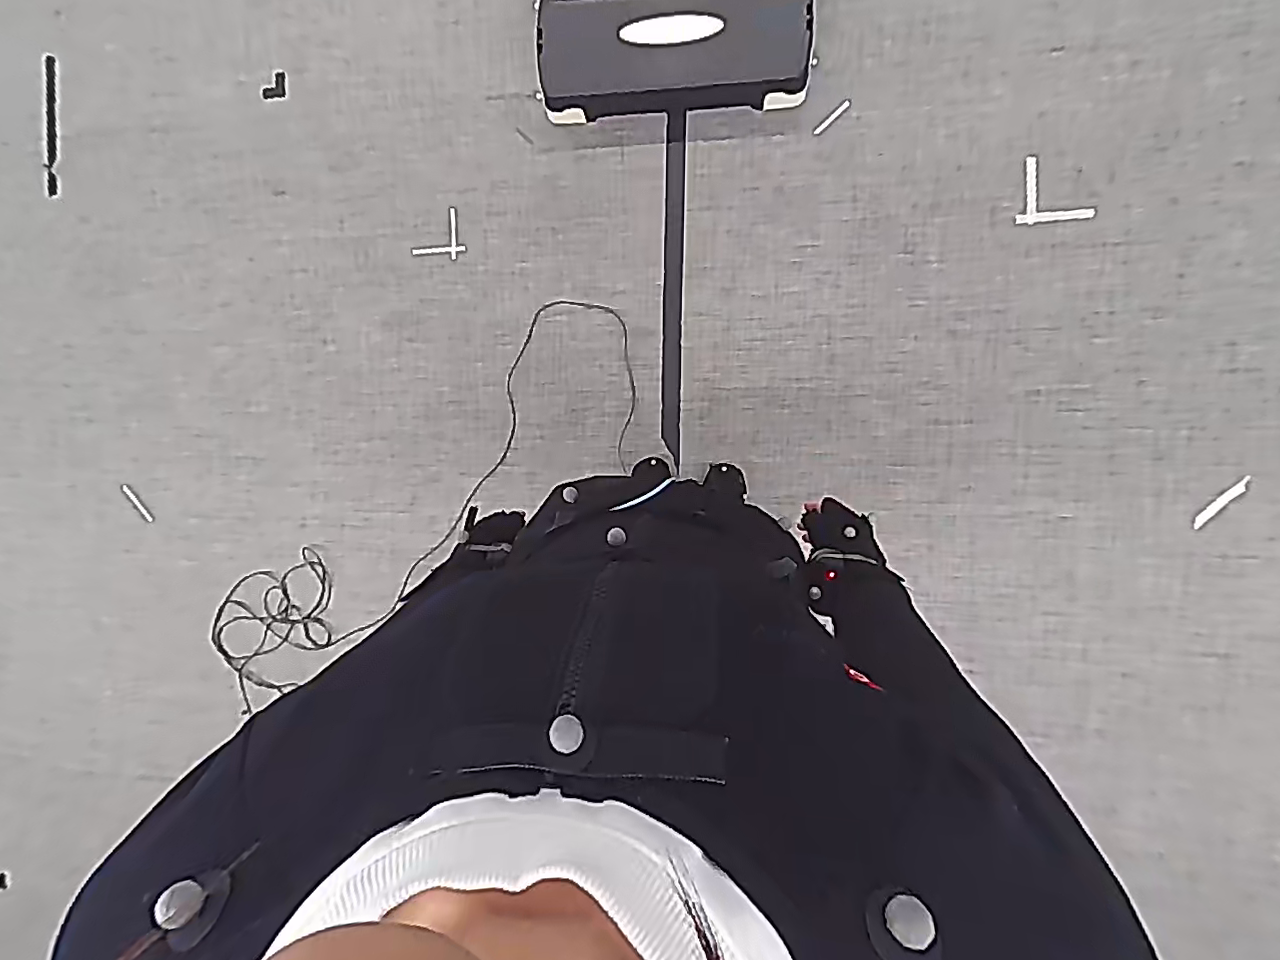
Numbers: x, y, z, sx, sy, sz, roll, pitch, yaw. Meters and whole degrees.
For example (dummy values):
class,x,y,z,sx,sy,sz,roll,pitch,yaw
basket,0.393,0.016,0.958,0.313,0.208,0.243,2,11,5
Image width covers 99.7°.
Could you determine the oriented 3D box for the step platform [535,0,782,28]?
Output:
class,x,y,z,sx,sy,sz,roll,pitch,yaw
step platform,0.051,-1.329,1.289,0.684,0.204,0.286,-1,93,6
